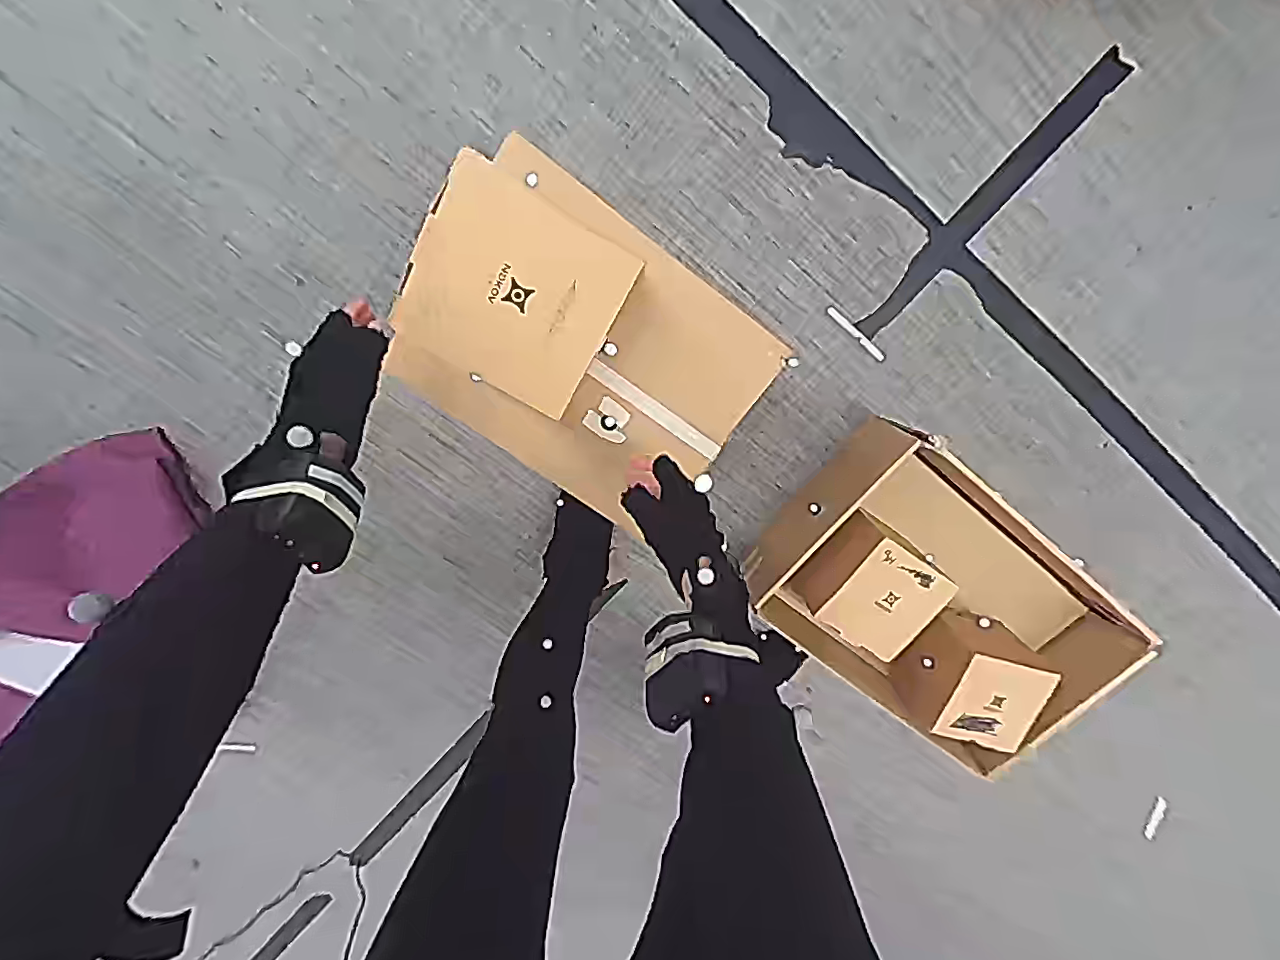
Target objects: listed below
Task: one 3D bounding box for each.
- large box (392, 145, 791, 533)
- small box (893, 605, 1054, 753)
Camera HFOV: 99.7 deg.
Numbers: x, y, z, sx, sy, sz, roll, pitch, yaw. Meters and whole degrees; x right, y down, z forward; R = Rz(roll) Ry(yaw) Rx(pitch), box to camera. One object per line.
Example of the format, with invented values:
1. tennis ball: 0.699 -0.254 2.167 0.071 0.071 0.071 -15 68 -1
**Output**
1. large box: -0.065 -0.194 0.805 0.408 0.320 0.320 34 105 -11
2. small box: 0.607 0.367 1.016 0.168 0.176 0.179 16 106 -5
